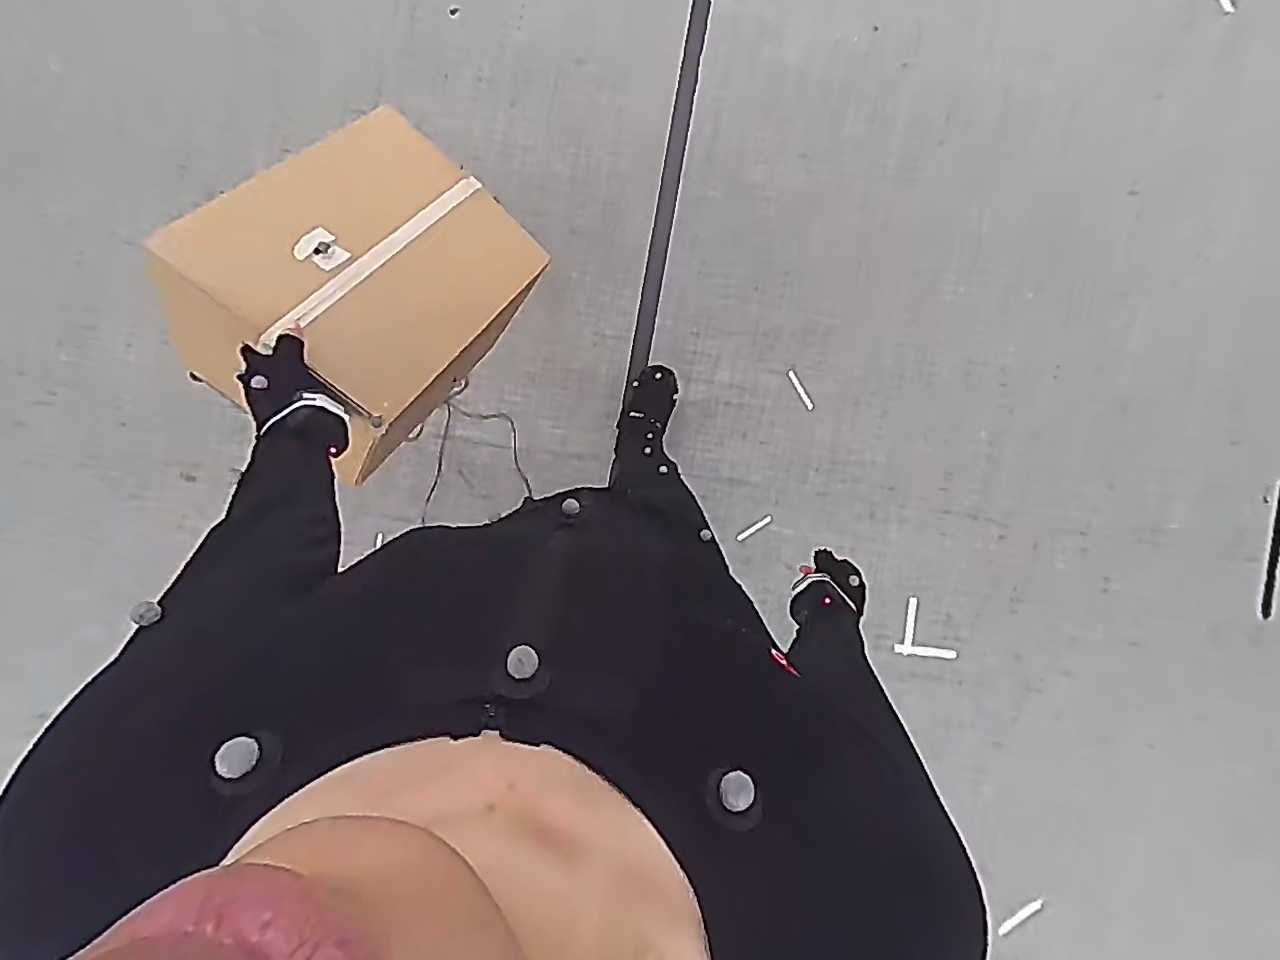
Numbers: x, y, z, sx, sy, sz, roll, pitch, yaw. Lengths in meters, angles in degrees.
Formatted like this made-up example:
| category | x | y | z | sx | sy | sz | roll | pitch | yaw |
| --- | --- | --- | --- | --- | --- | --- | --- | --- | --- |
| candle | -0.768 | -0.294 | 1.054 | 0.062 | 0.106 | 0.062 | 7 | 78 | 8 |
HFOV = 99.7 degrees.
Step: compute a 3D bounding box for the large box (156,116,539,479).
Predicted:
| category | x | y | z | sx | sy | sz | roll | pitch | yaw |
| --- | --- | --- | --- | --- | --- | --- | --- | --- | --- |
| large box | -0.436 | -0.273 | 0.878 | 0.320 | 0.320 | 0.408 | 40 | 58 | -15 |
